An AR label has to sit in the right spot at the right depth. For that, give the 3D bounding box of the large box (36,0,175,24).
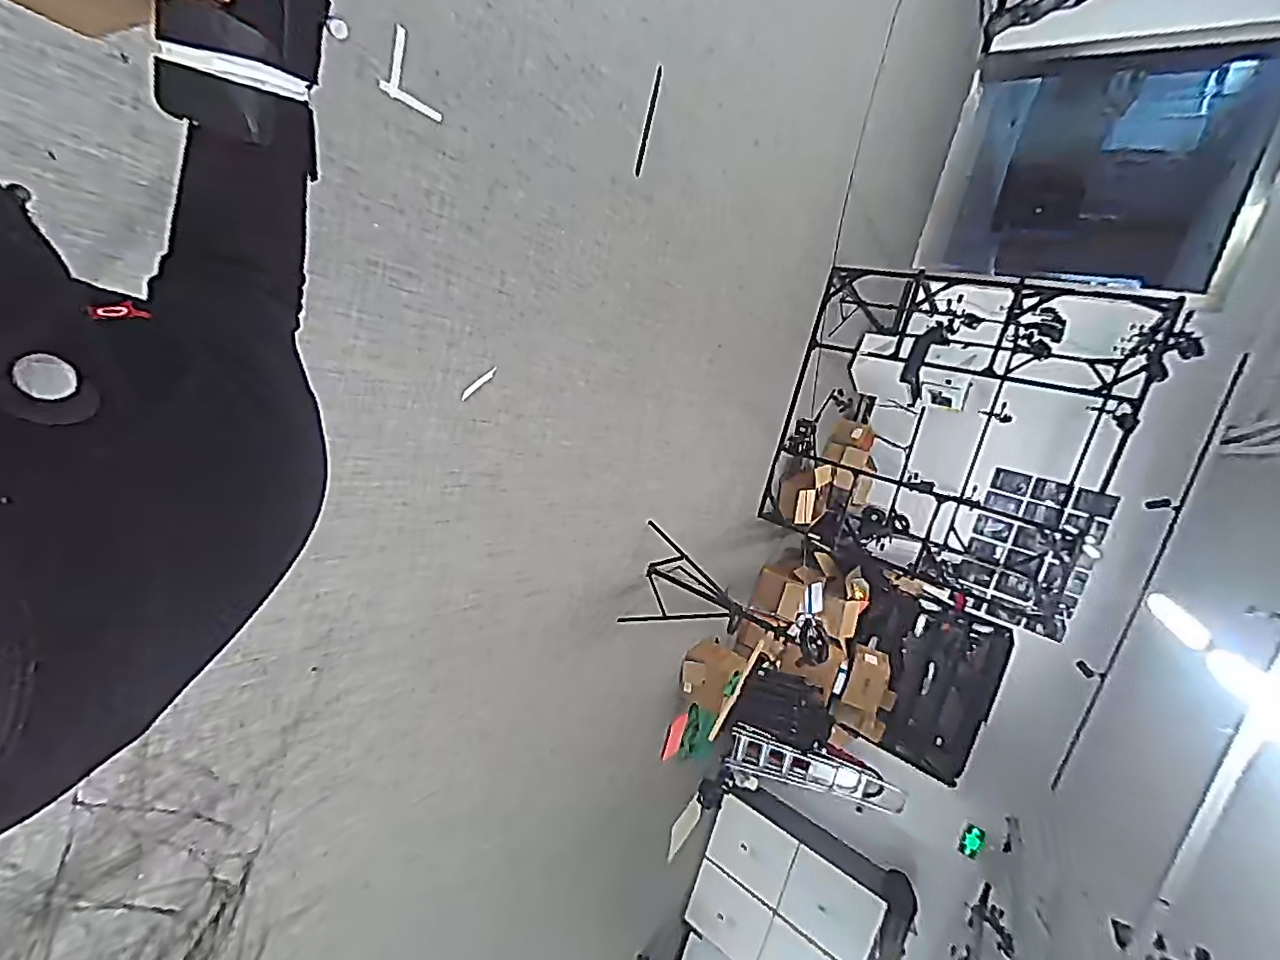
[{"bbox_3d":[-0.428,-0.478,0.201,0.408,0.320,0.320,-1,113,-57],"label":"large box"}]
